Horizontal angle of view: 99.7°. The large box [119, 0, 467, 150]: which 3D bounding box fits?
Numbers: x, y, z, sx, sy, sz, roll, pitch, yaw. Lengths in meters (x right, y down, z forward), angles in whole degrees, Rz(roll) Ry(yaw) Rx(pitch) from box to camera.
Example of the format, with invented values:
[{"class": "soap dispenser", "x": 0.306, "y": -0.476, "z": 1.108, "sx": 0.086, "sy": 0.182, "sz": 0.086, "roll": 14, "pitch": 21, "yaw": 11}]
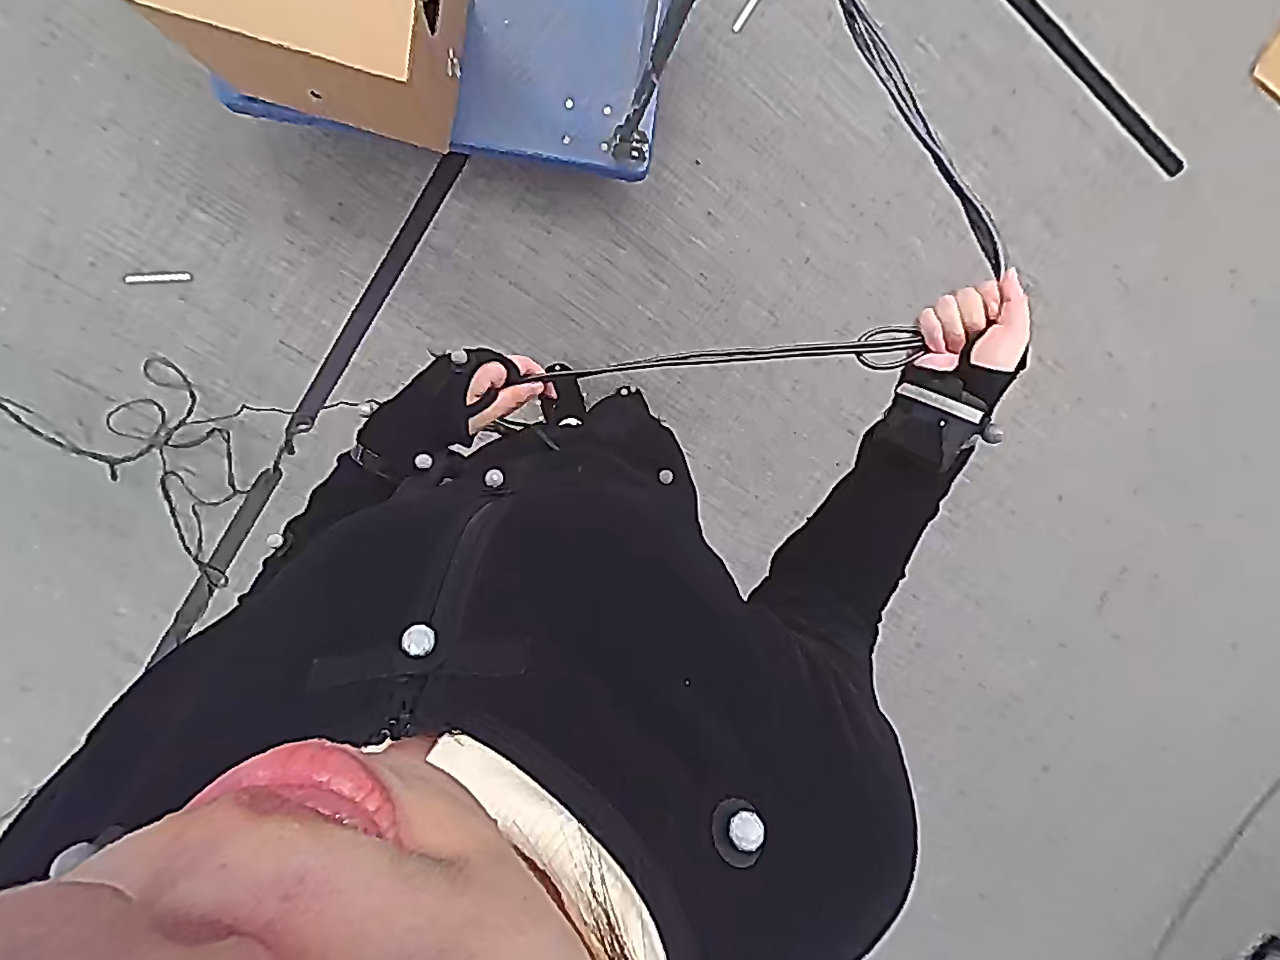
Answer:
[{"class": "large box", "x": -0.533, "y": -0.817, "z": 0.910, "sx": 0.408, "sy": 0.320, "sz": 0.320, "roll": 10, "pitch": 101, "yaw": -10}]
